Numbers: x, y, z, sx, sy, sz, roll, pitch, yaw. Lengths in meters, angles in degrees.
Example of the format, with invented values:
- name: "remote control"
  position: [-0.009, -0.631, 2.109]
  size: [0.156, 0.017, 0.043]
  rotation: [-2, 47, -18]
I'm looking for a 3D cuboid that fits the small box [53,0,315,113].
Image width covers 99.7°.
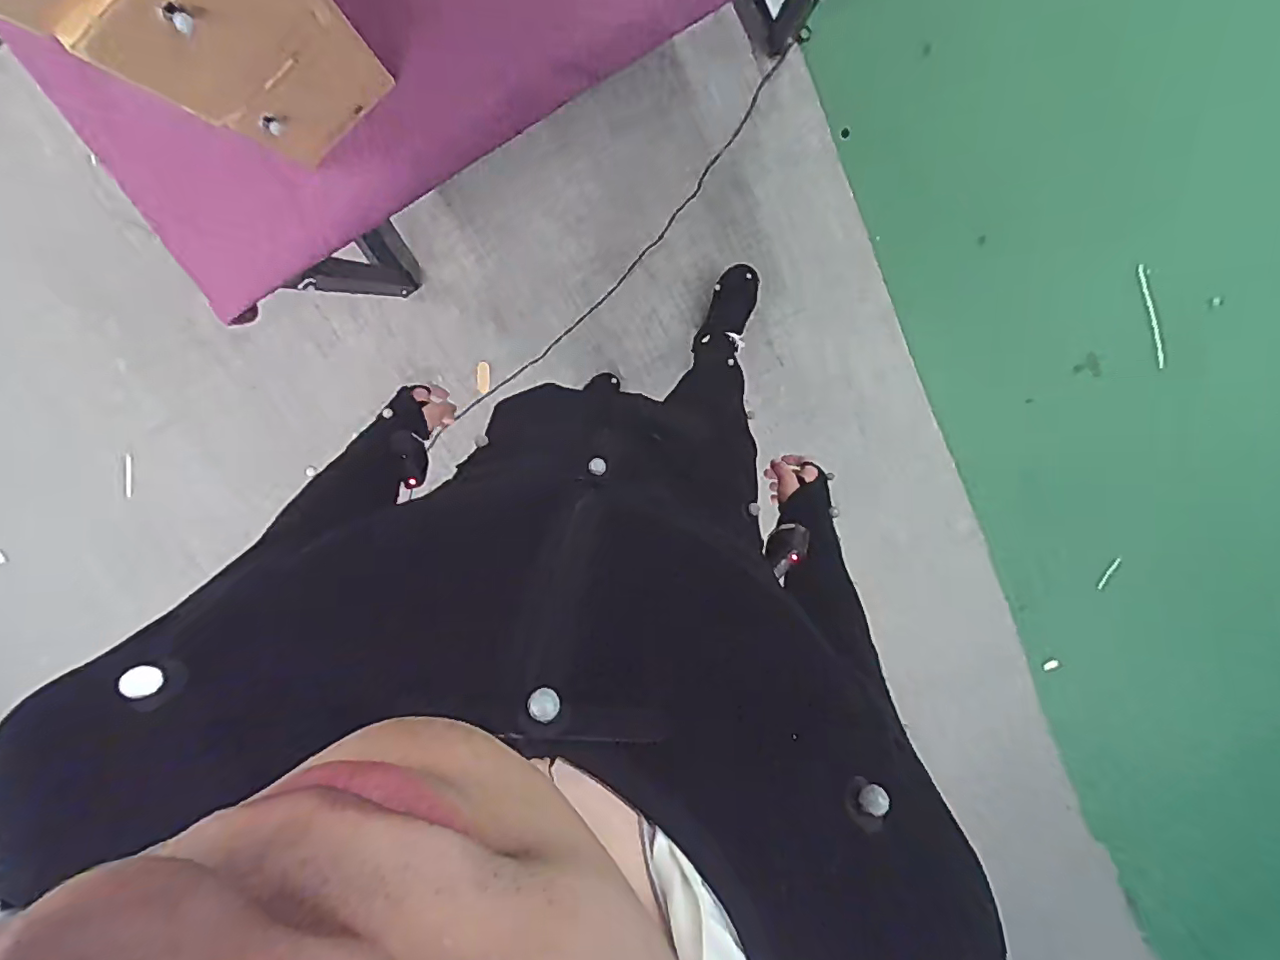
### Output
- name: "small box"
  position: [-0.431, -0.478, 0.478]
  size: [0.179, 0.176, 0.168]
  rotation: [-35, 105, 9]
